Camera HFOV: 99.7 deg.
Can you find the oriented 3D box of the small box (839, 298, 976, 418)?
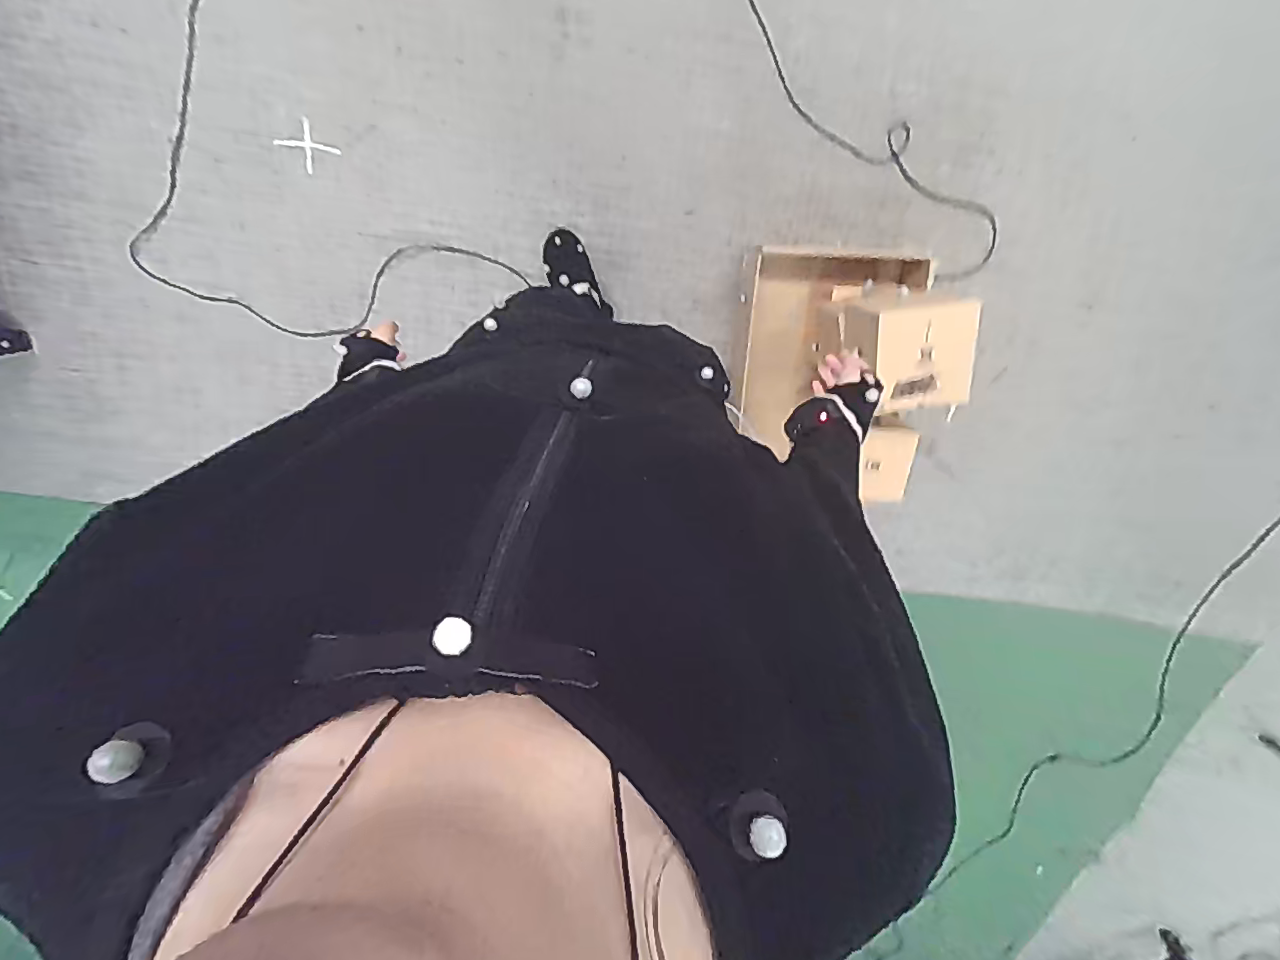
[{"bbox_3d":[0.475,-0.227,0.990,0.168,0.176,0.179,-6,114,3],"label":"small box"}]

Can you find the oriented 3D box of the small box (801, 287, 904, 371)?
[{"bbox_3d":[0.495,-0.358,1.289,0.168,0.176,0.179,3,116,-1],"label":"small box"}]

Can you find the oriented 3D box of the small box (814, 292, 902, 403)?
[{"bbox_3d":[0.478,-0.284,1.144,0.168,0.176,0.179,-12,114,6],"label":"small box"}]

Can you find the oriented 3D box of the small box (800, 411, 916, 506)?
[{"bbox_3d":[0.490,-0.054,1.241,0.179,0.176,0.168,4,113,-2],"label":"small box"}]
